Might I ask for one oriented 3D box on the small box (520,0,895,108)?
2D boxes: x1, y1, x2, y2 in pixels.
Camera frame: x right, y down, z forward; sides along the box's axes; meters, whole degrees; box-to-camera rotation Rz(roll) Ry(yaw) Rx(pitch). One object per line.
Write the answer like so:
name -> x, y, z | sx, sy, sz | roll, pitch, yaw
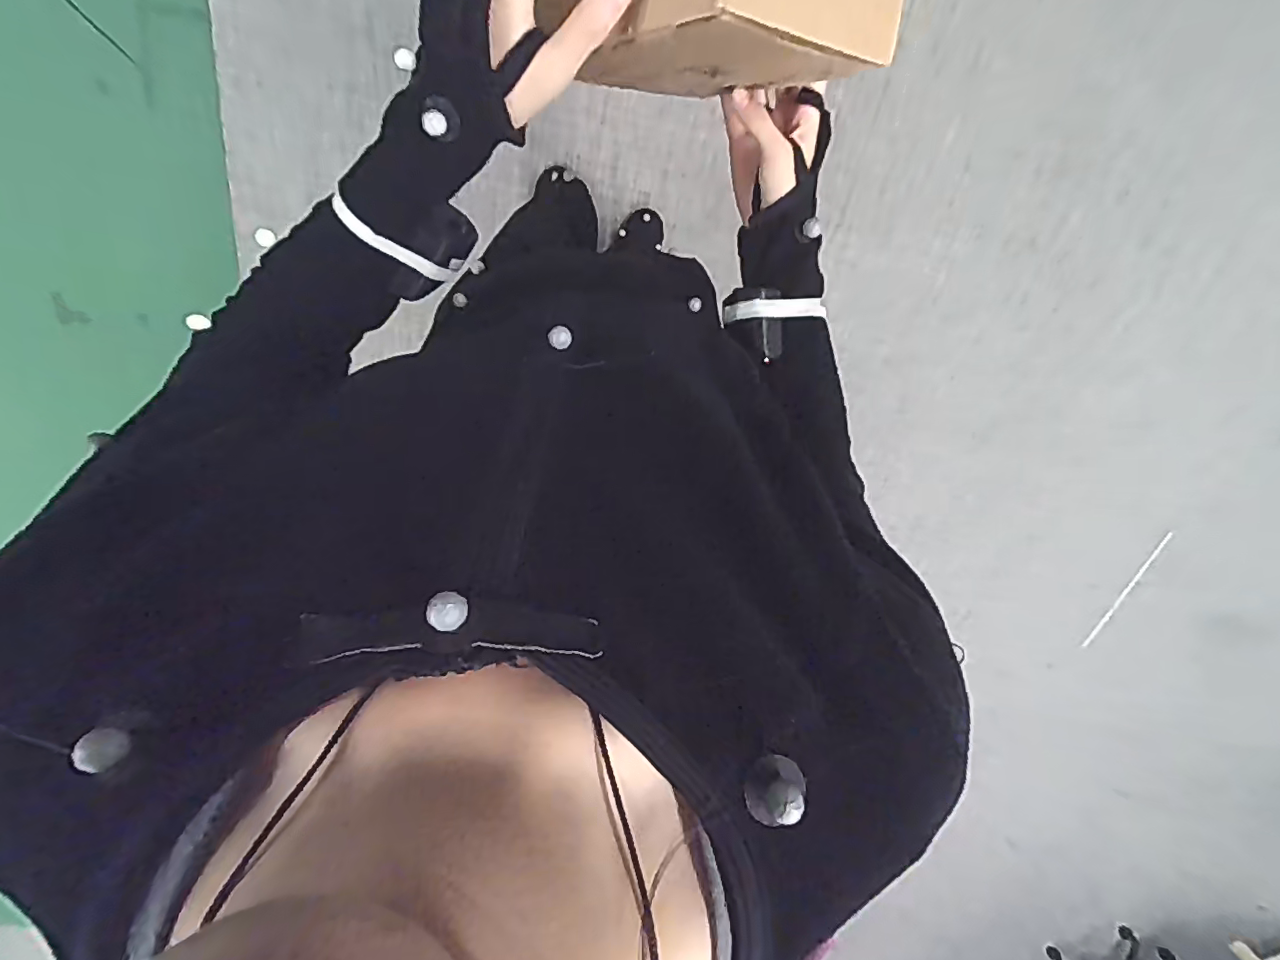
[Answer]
small box -> 0.043, -0.335, 0.312 | 0.179, 0.168, 0.176 | -23, 127, -40
